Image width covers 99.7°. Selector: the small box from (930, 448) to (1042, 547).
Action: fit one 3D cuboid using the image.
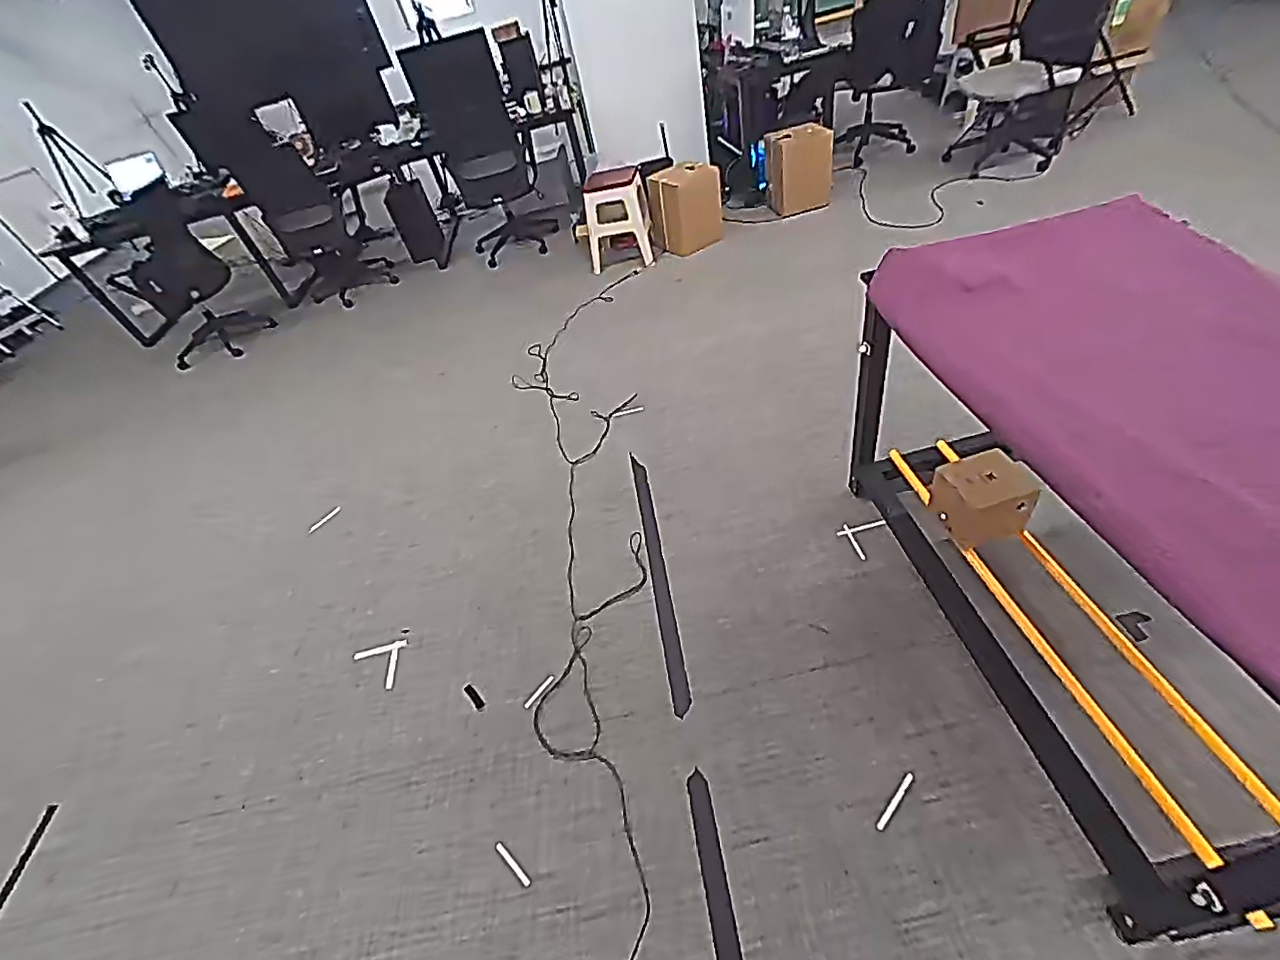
[{"bbox_3d":[0.896,0.049,1.422,0.179,0.176,0.168,-18,44,1],"label":"small box"}]
